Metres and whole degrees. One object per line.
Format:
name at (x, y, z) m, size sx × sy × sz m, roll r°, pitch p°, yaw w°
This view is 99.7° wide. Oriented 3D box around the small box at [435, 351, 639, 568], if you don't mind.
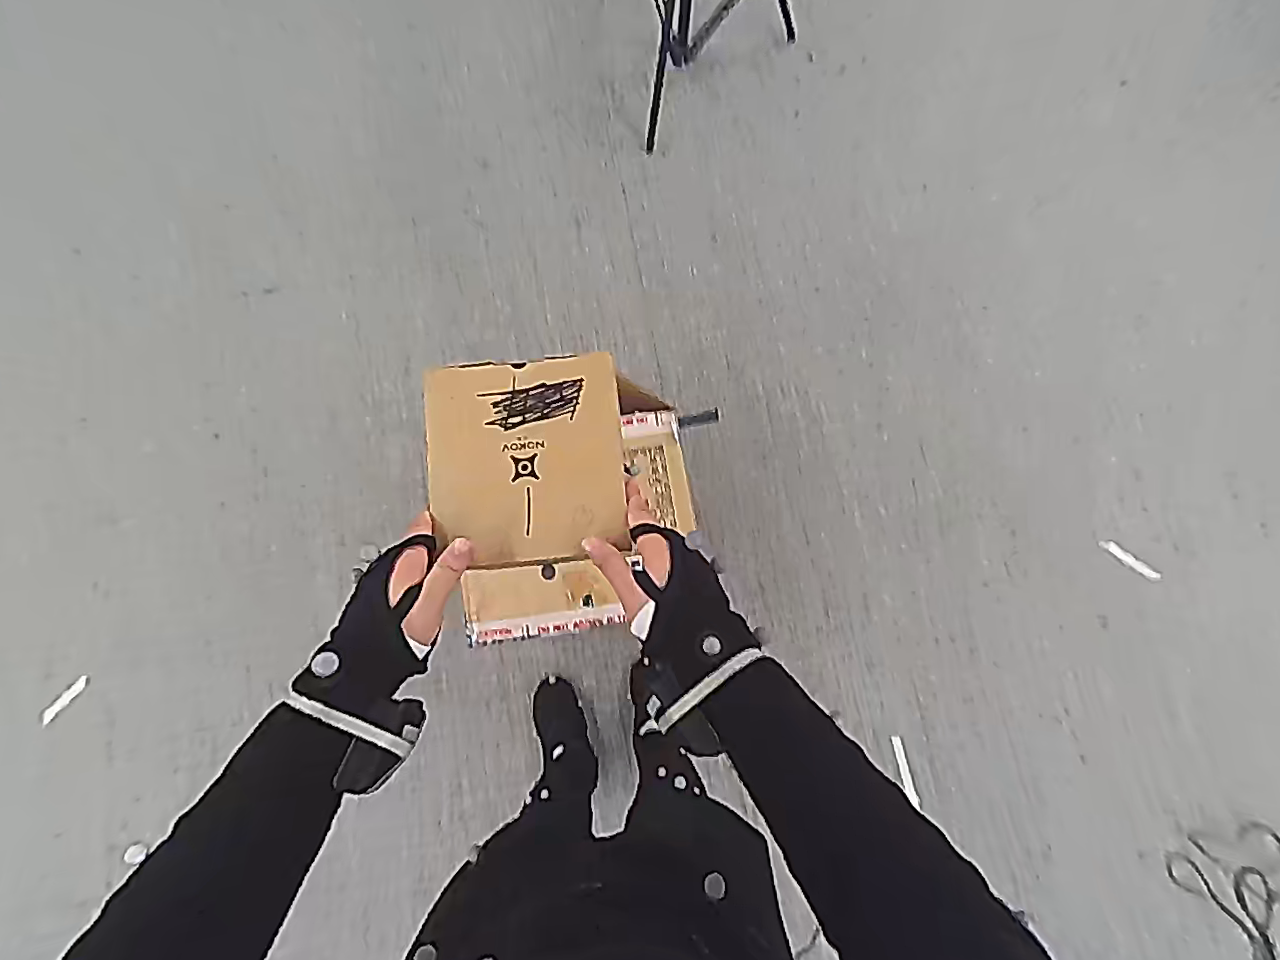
small box at (-0.090, -0.008, 0.534) m, size 0.168 × 0.176 × 0.179 m, roll -6°, pitch 81°, yaw 0°
